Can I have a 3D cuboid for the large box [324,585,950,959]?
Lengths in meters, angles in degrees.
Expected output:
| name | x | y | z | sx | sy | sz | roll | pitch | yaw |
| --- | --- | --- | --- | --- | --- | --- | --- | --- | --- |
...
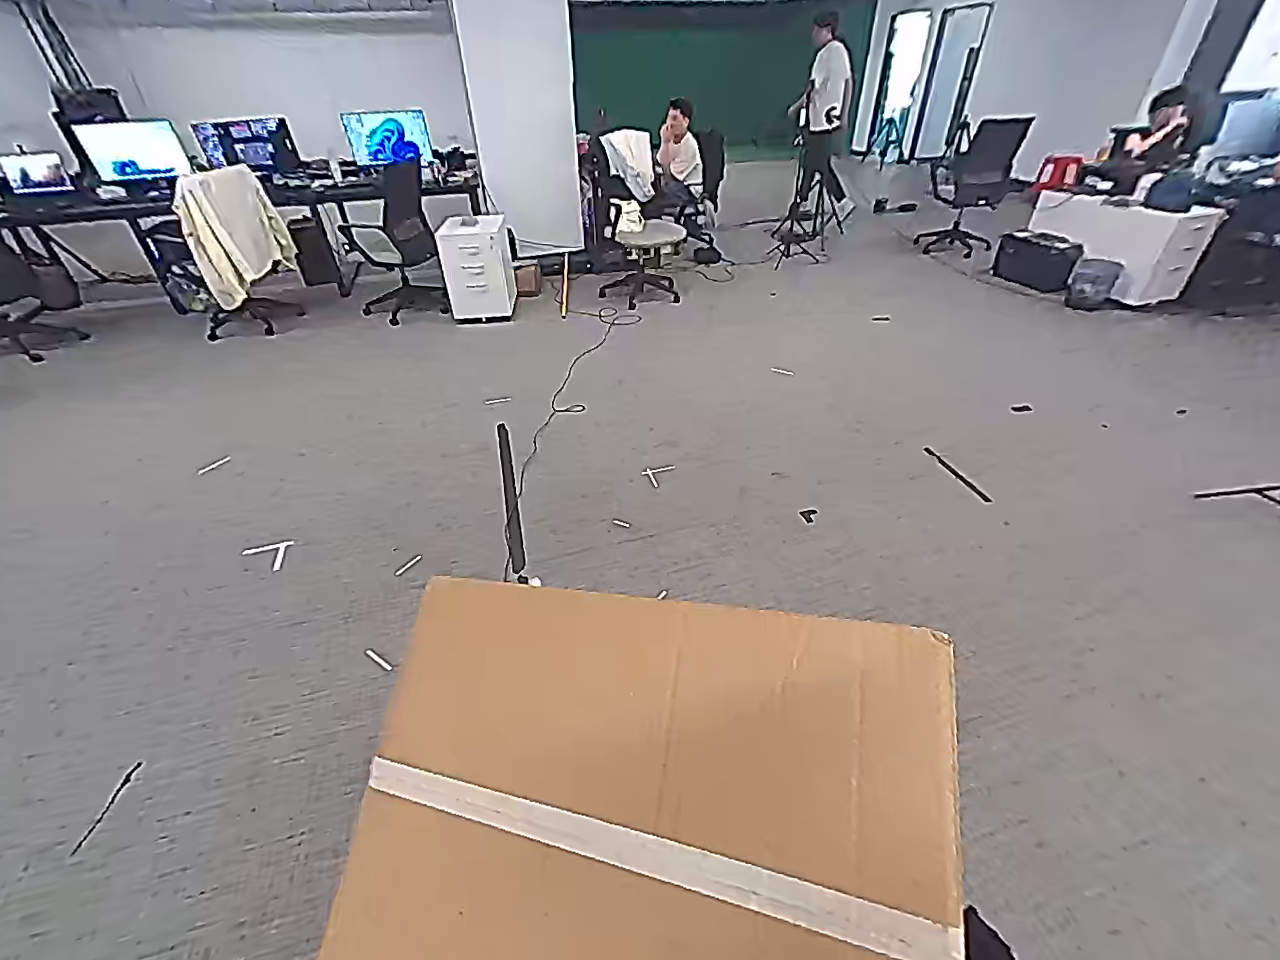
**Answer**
| name | x | y | z | sx | sy | sz | roll | pitch | yaw |
| --- | --- | --- | --- | --- | --- | --- | --- | --- | --- |
| large box | 0.029 | 0.294 | 0.480 | 0.408 | 0.320 | 0.320 | 1 | 68 | 24 |
